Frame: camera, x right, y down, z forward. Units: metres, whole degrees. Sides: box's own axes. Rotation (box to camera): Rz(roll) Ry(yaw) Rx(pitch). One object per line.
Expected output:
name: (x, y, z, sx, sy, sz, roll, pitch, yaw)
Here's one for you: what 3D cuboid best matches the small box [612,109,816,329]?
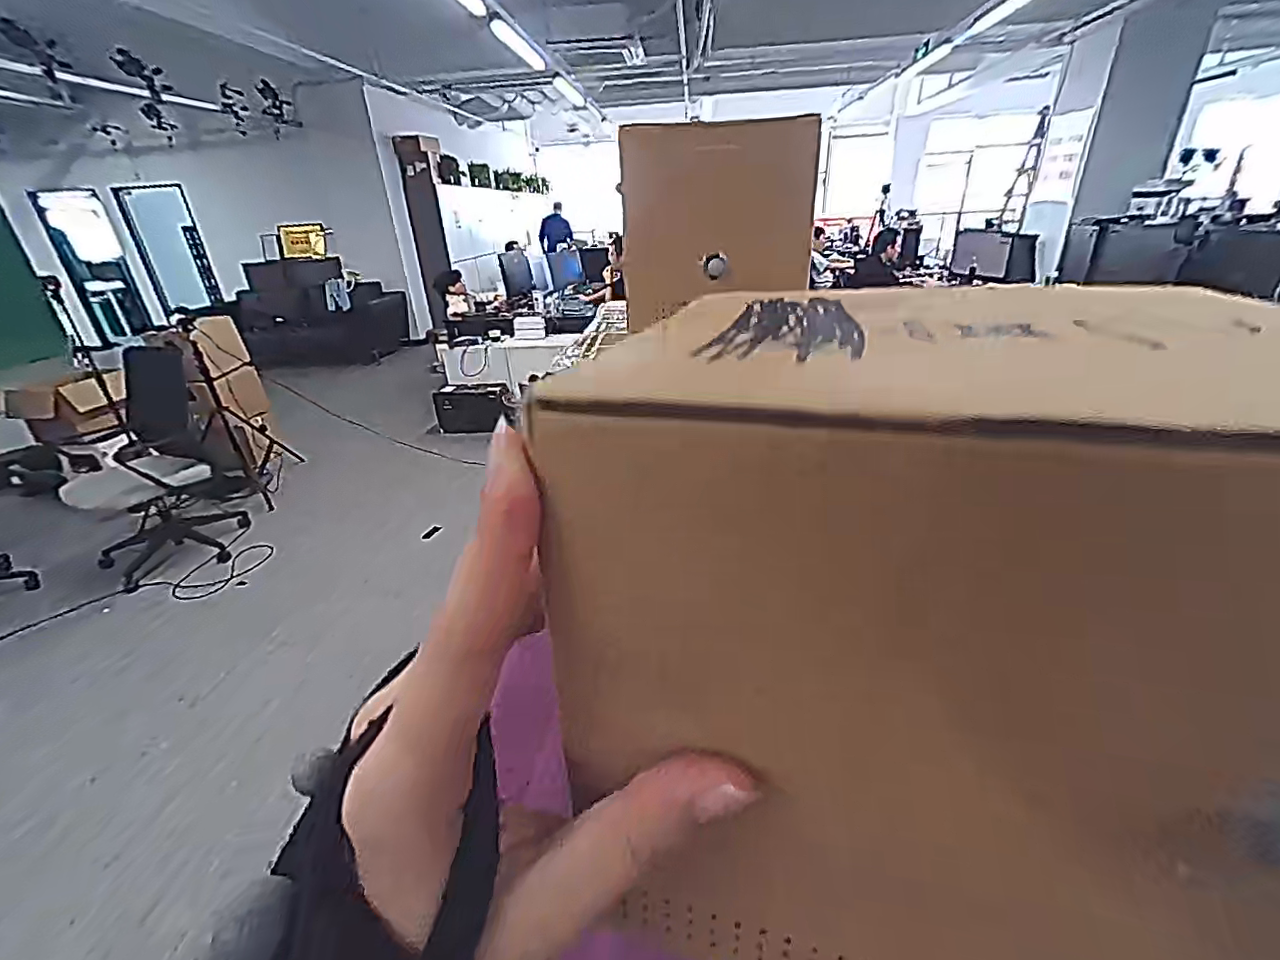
small box: (0.067, -0.251, 0.537, 0.168, 0.176, 0.179, -1, 26, 5)
